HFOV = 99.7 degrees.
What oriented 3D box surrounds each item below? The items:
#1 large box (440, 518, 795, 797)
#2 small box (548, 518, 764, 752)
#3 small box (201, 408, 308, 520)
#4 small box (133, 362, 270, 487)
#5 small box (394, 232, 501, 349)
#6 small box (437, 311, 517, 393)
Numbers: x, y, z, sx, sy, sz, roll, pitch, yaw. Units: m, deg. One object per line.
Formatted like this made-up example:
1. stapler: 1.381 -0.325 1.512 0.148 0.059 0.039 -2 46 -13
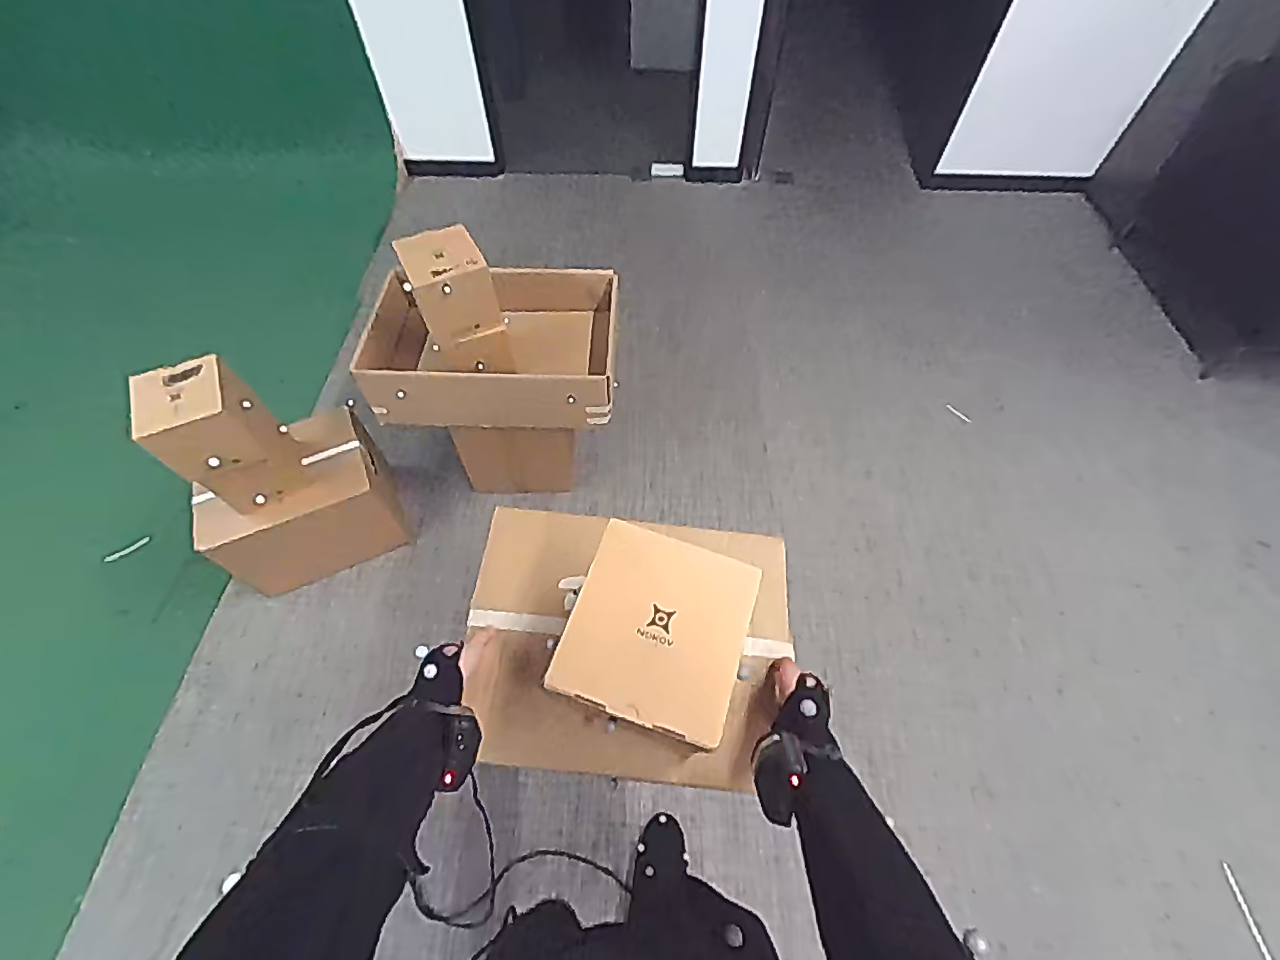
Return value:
1. large box: -0.017 0.270 0.799 0.408 0.320 0.320 5 61 1
2. small box: 0.015 0.170 0.576 0.168 0.176 0.179 18 64 6
3. small box: -0.941 -0.037 1.308 0.168 0.176 0.179 -27 61 -16
4. small box: -0.935 -0.116 1.164 0.168 0.176 0.179 -23 61 -13
5. small box: -0.441 -0.436 1.252 0.168 0.176 0.179 -24 60 -15
6. small box: -0.427 -0.344 1.388 0.168 0.176 0.179 -18 59 -13
